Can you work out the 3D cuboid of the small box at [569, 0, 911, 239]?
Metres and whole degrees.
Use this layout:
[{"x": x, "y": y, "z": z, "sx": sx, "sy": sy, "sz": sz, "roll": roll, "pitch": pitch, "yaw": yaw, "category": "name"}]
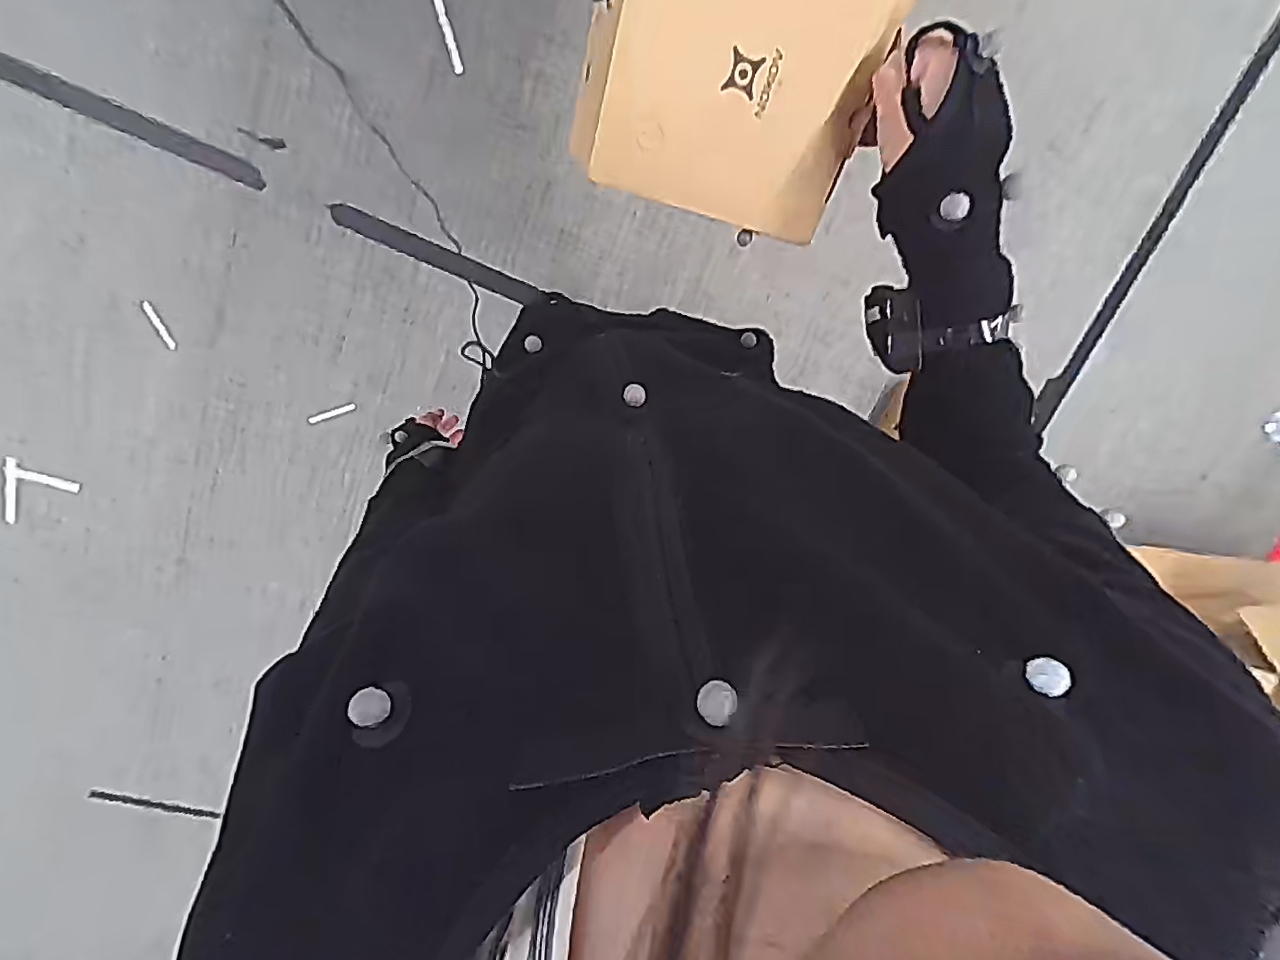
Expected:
[{"x": 0.051, "y": -0.299, "z": 0.396, "sx": 0.179, "sy": 0.176, "sz": 0.168, "roll": 6, "pitch": 124, "yaw": -19, "category": "small box"}]
